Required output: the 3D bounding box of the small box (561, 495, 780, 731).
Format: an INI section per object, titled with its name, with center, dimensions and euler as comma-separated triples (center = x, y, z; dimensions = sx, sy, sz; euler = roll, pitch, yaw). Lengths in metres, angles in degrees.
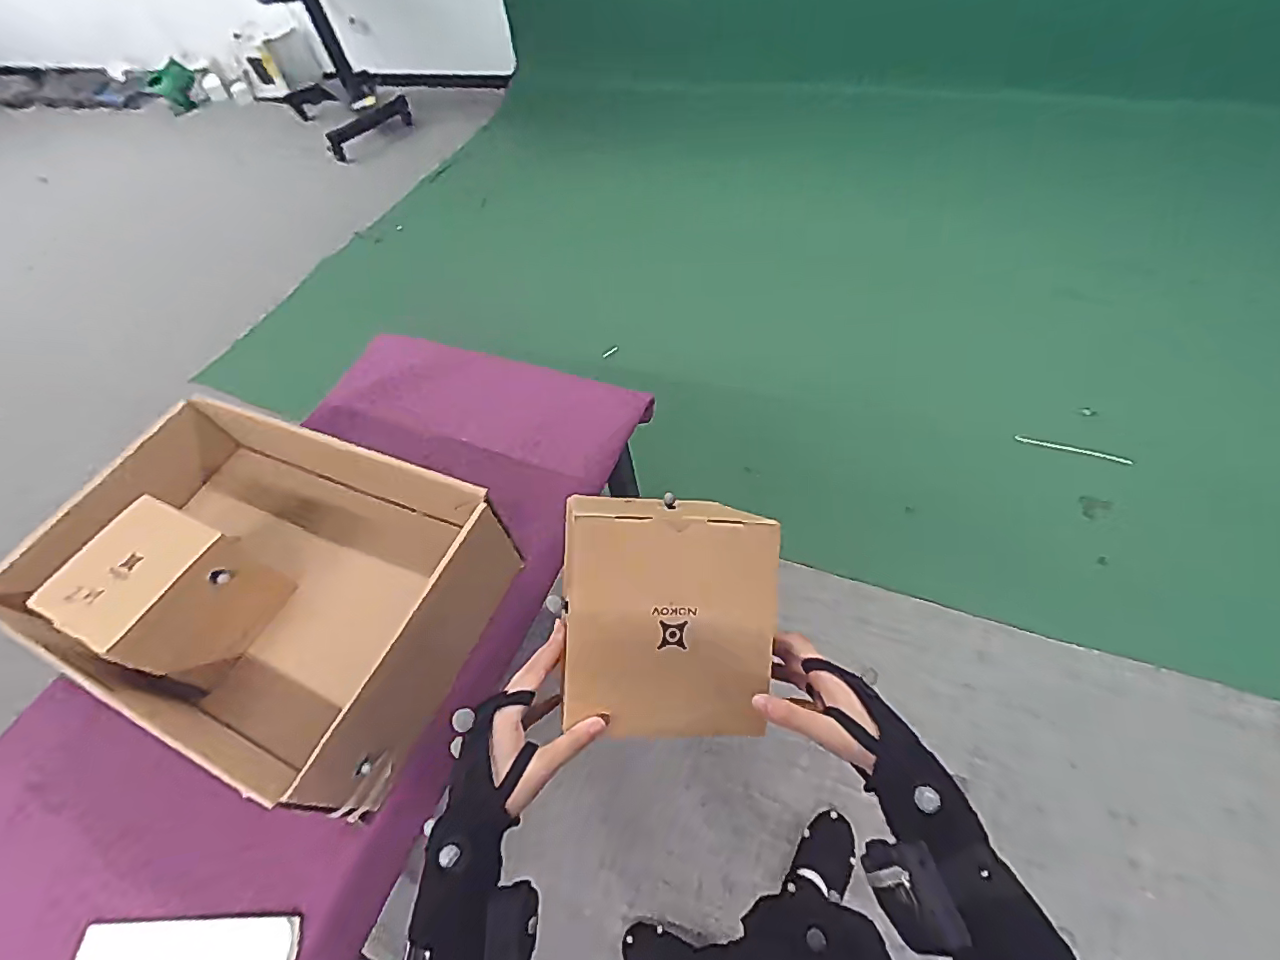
[small box]
center = 0.016, 0.108, 0.502
dimensions = 0.168, 0.176, 0.179
euler = 3, 90, -8
